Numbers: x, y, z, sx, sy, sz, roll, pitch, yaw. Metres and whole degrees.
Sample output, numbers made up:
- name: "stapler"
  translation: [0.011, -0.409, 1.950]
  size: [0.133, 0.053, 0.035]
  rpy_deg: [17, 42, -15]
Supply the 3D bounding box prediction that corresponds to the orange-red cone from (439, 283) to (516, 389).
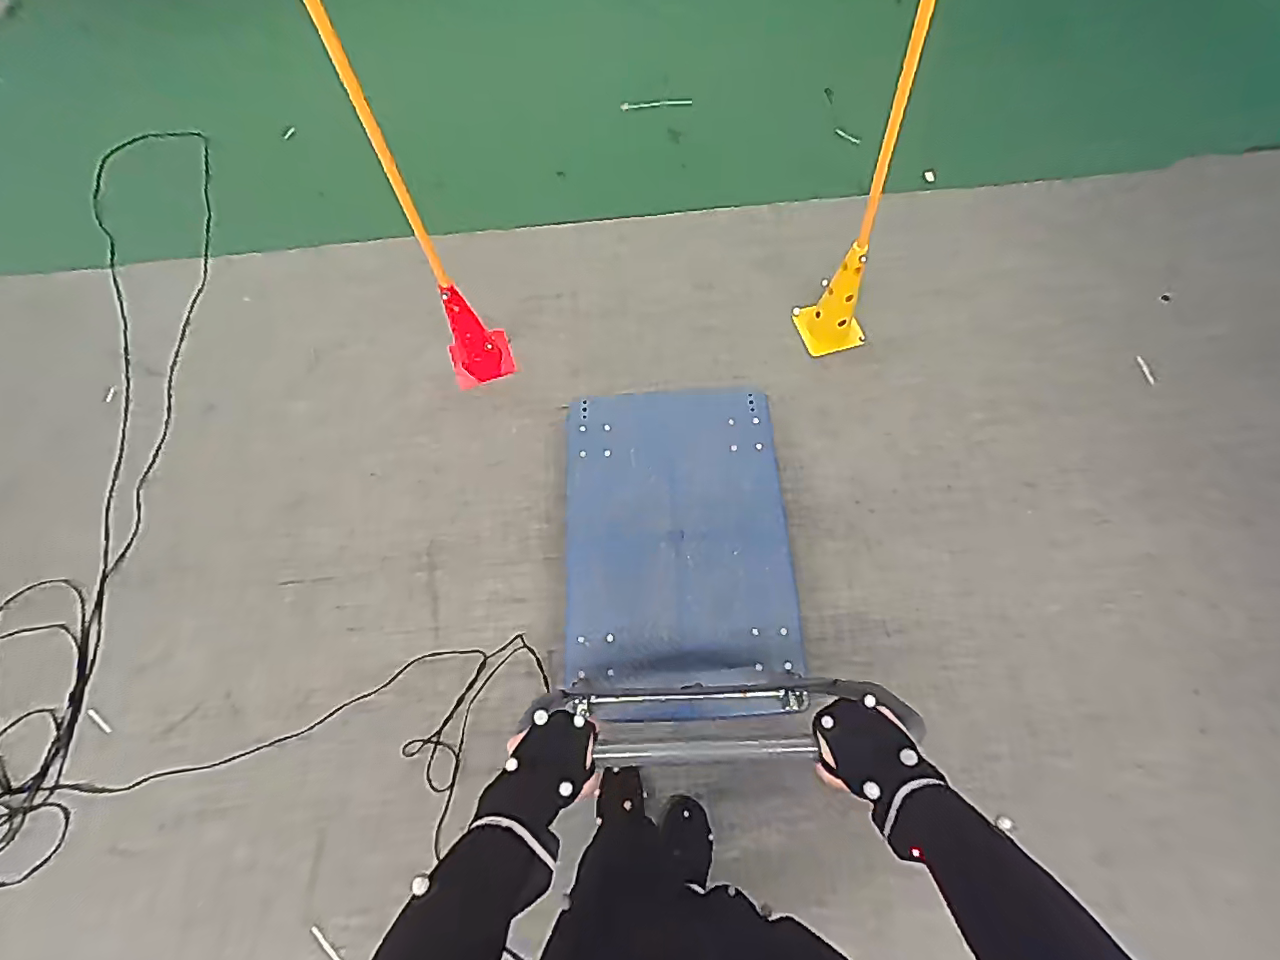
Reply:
- name: "orange-red cone"
  translation: [-0.546, -0.476, 1.696]
  size: [0.199, 0.360, 0.198]
  rpy_deg: [-19, 67, -4]
